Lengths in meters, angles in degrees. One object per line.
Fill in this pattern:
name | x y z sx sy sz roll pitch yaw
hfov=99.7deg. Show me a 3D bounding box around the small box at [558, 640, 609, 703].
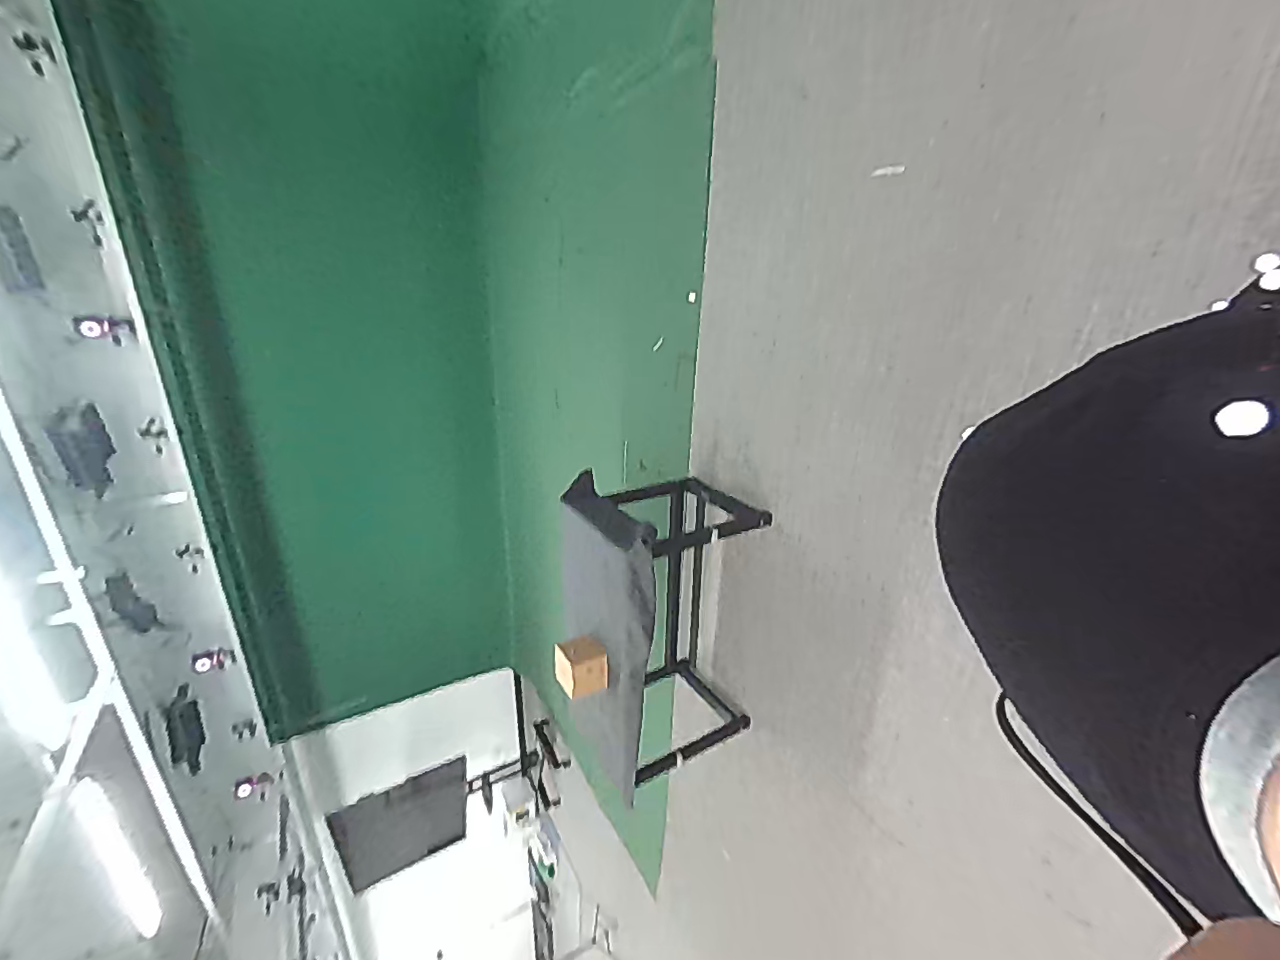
small box | -0.240 0.807 2.304 0.179 0.176 0.168 31 124 54
